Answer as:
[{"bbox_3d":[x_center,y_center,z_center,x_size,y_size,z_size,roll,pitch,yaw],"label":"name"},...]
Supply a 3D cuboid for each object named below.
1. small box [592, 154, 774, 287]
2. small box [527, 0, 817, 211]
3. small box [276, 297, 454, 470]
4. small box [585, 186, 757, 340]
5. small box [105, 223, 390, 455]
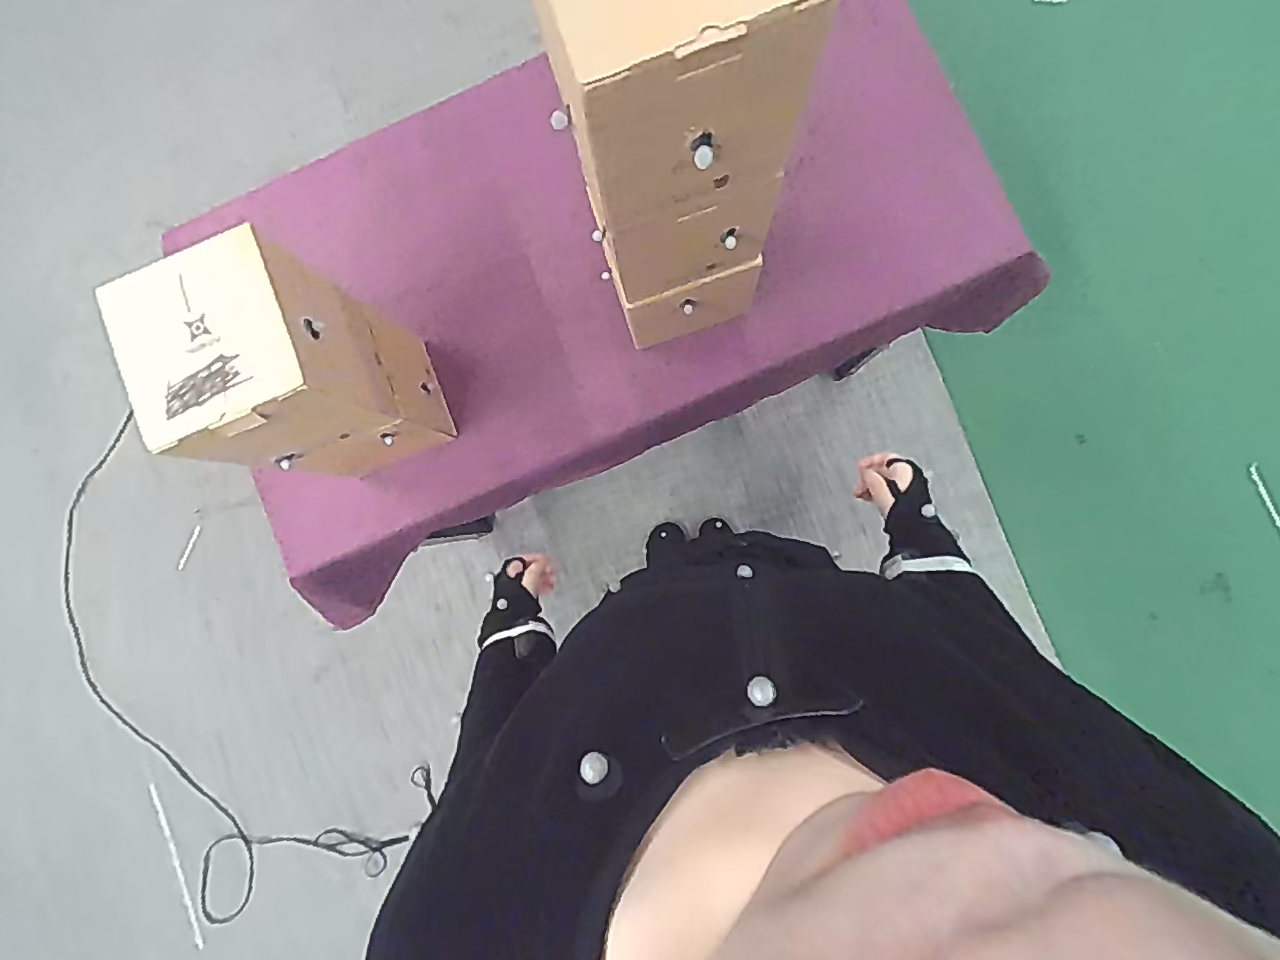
[{"bbox_3d":[0.027,-0.327,0.572,0.168,0.176,0.179,-18,85,3],"label":"small box"},{"bbox_3d":[0.011,-0.336,0.408,0.168,0.176,0.179,-19,86,2],"label":"small box"},{"bbox_3d":[-0.395,-0.121,0.760,0.179,0.176,0.168,-22,85,2],"label":"small box"},{"bbox_3d":[0.044,-0.309,0.733,0.179,0.176,0.168,-17,86,4],"label":"small box"},{"bbox_3d":[-0.411,-0.135,0.597,0.168,0.176,0.179,-23,84,2],"label":"small box"}]
